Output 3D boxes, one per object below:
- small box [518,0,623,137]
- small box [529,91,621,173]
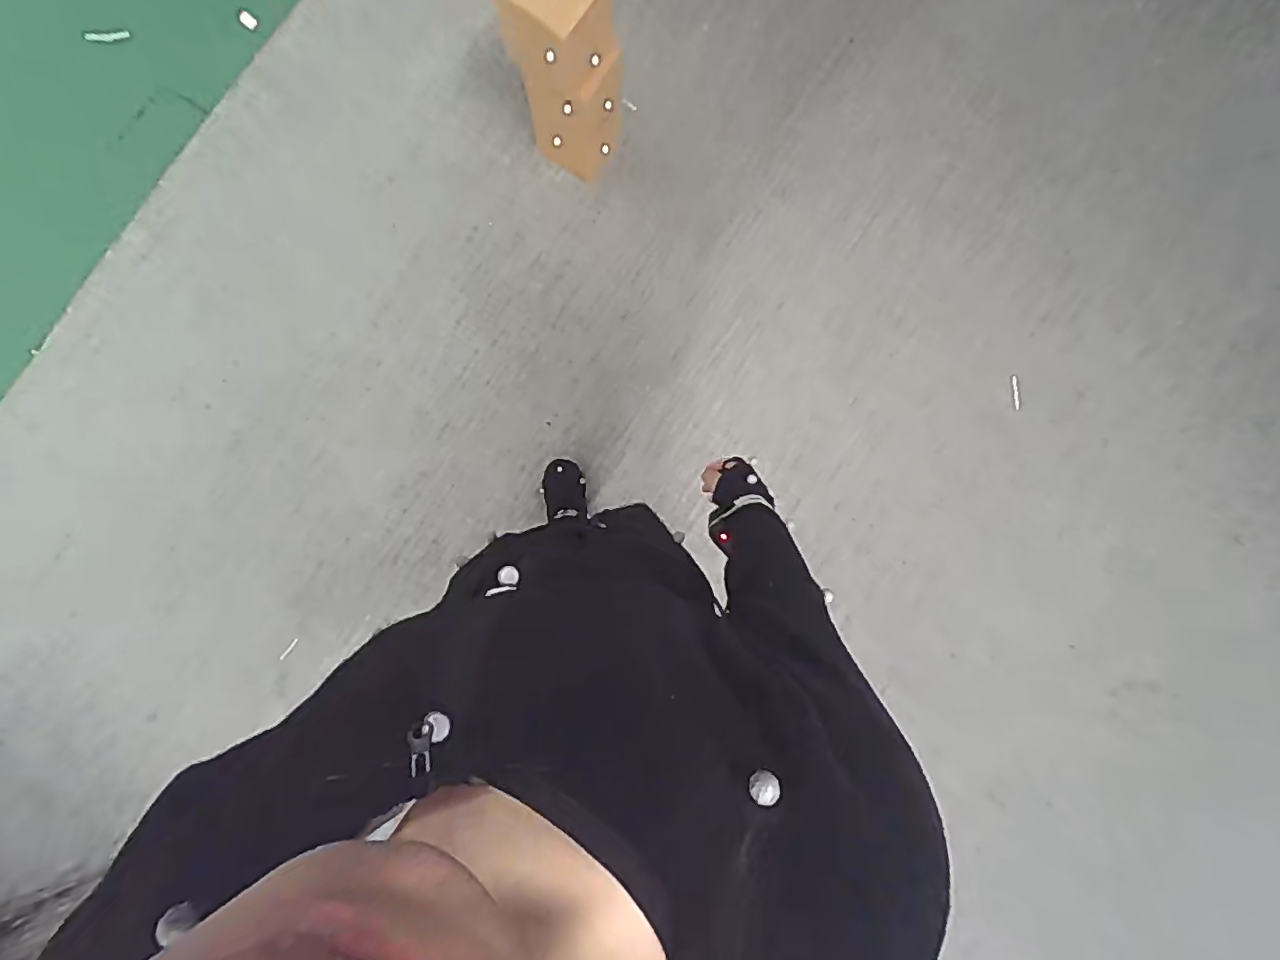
[{"bbox_3d":[-0.155,-0.950,1.262,0.179,0.176,0.168,33,88,-2],"label":"small box"},{"bbox_3d":[-0.164,-0.954,1.427,0.179,0.176,0.168,32,89,-2],"label":"small box"}]
